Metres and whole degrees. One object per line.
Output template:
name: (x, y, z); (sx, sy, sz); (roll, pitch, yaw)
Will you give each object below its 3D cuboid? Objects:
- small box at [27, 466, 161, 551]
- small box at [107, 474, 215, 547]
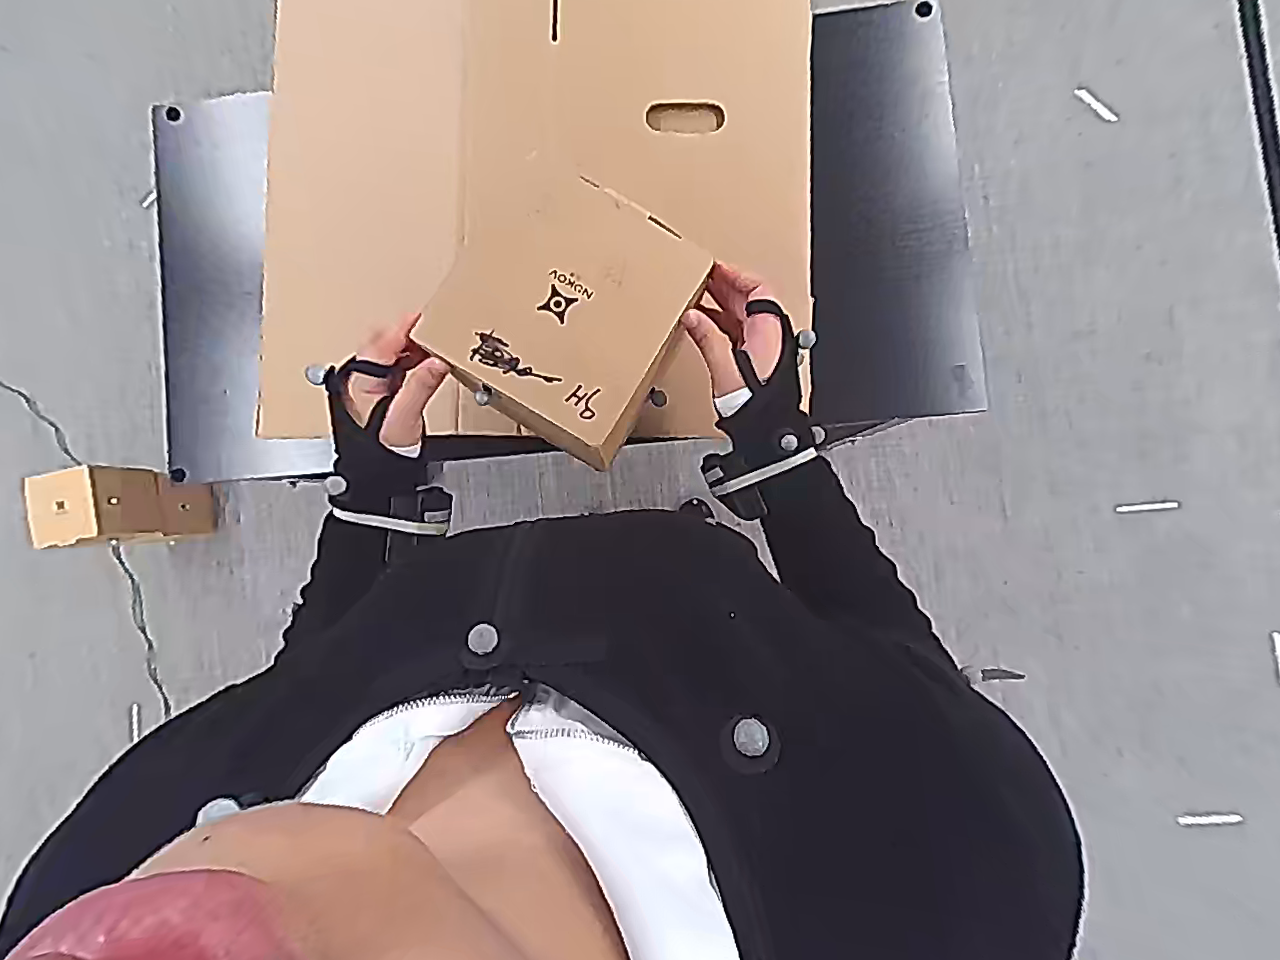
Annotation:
small box: (-1.353, 0.072, 1.351); (0.168, 0.176, 0.179); (-12, 85, 2)
small box: (-1.340, 0.086, 1.512); (0.168, 0.176, 0.179); (-9, 87, 3)
